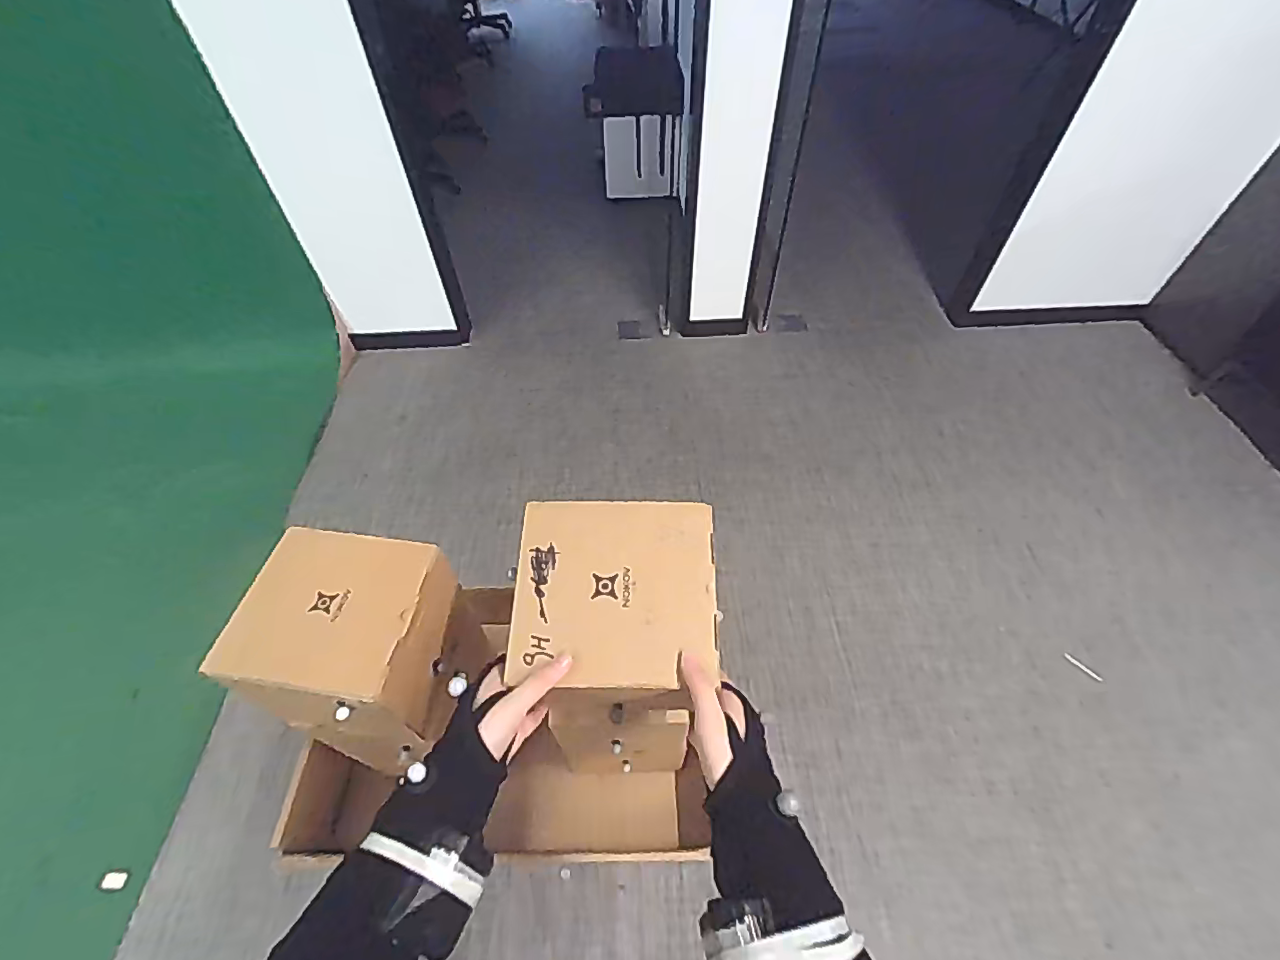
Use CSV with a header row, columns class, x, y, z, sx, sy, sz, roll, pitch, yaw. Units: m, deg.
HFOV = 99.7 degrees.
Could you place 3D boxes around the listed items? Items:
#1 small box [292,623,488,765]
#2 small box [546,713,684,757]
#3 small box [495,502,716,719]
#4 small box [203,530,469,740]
class,x,y,z,sx,sy,sz,roll,pitch,yaw
small box,-0.321,0.276,0.742,0.168,0.176,0.179,4,51,3
small box,-0.026,0.269,0.738,0.168,0.176,0.179,0,52,1
small box,-0.026,0.135,0.530,0.179,0.176,0.168,2,60,0
small box,-0.317,0.179,0.612,0.179,0.176,0.168,7,52,4
